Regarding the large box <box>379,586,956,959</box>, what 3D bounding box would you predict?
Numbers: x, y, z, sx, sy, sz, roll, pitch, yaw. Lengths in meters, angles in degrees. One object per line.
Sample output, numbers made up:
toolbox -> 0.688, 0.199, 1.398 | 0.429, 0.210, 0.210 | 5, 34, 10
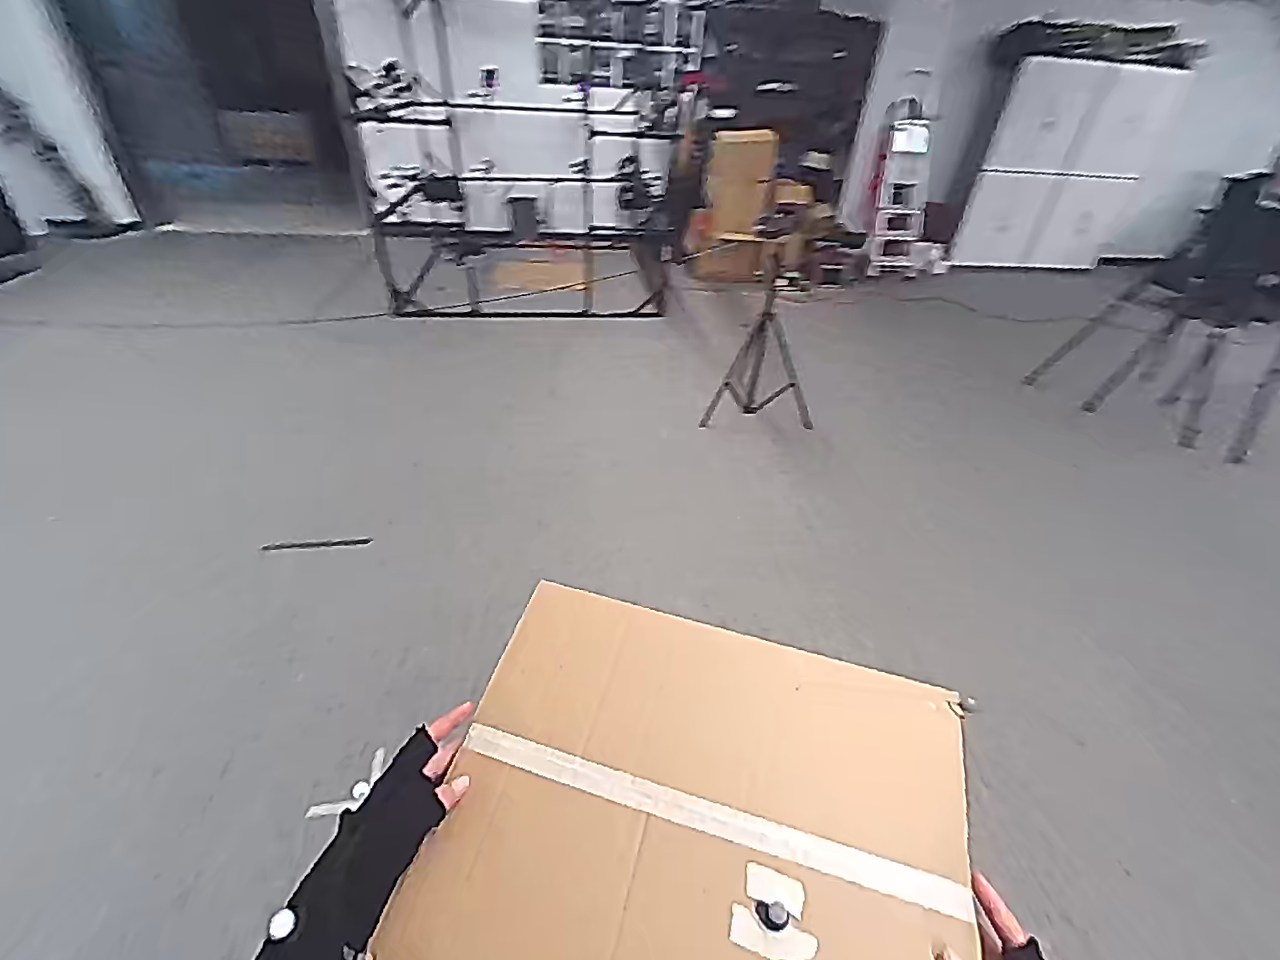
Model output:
large box -> 0.042, 0.354, 0.553 | 0.408, 0.320, 0.320 | 12, 52, 10
